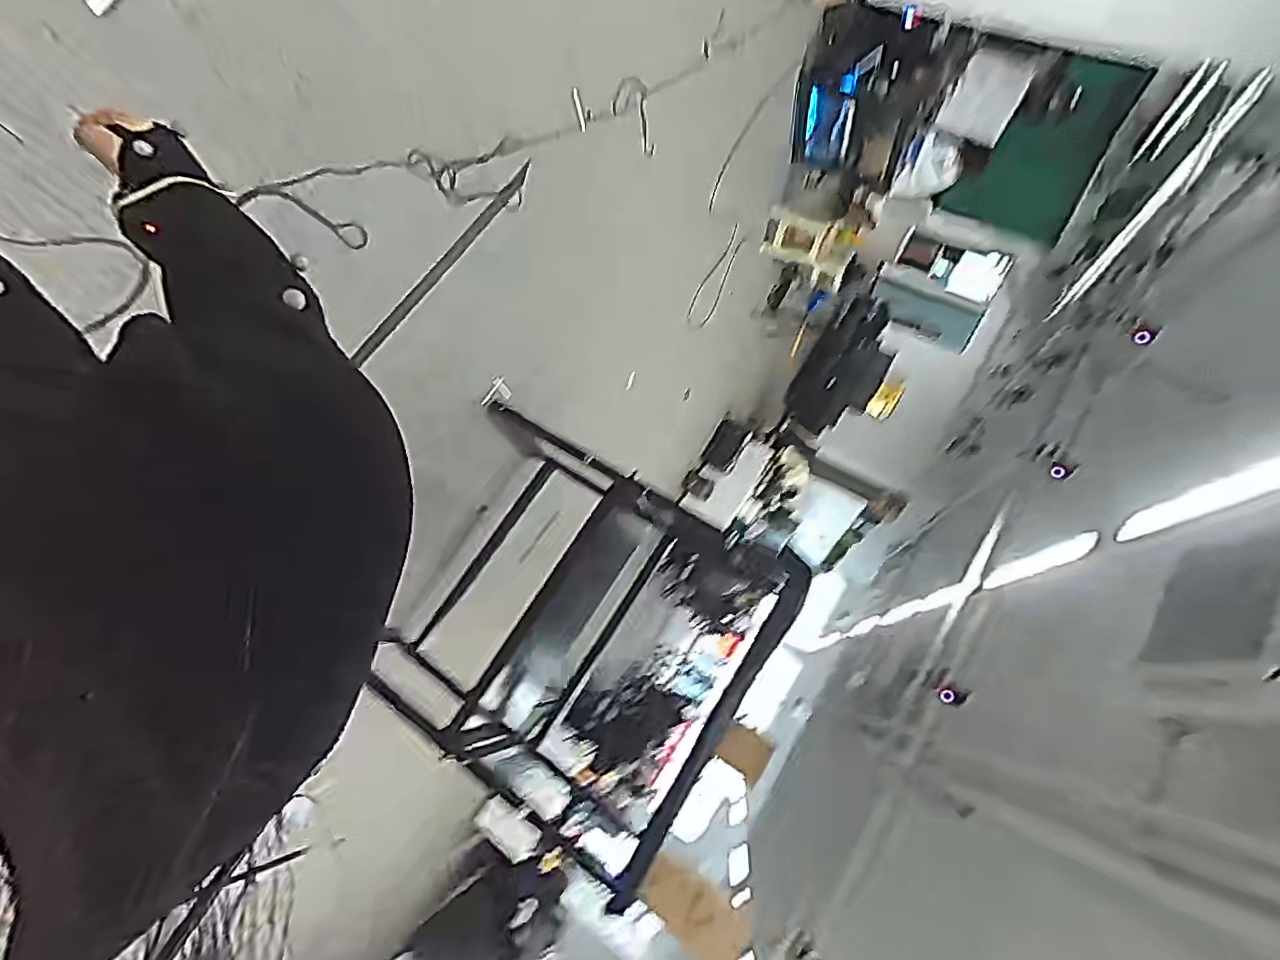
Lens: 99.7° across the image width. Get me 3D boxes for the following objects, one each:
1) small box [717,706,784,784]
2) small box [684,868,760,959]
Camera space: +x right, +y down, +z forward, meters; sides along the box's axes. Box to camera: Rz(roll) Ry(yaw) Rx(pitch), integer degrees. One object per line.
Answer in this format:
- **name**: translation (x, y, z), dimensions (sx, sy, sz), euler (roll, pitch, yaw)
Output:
- **small box**: translation (0.373, 0.900, 1.856), dimensions (0.168, 0.176, 0.179), euler (-57, 163, -11)
- **small box**: translation (0.248, 1.335, 1.649), dimensions (0.168, 0.176, 0.179), euler (-57, 161, -12)
